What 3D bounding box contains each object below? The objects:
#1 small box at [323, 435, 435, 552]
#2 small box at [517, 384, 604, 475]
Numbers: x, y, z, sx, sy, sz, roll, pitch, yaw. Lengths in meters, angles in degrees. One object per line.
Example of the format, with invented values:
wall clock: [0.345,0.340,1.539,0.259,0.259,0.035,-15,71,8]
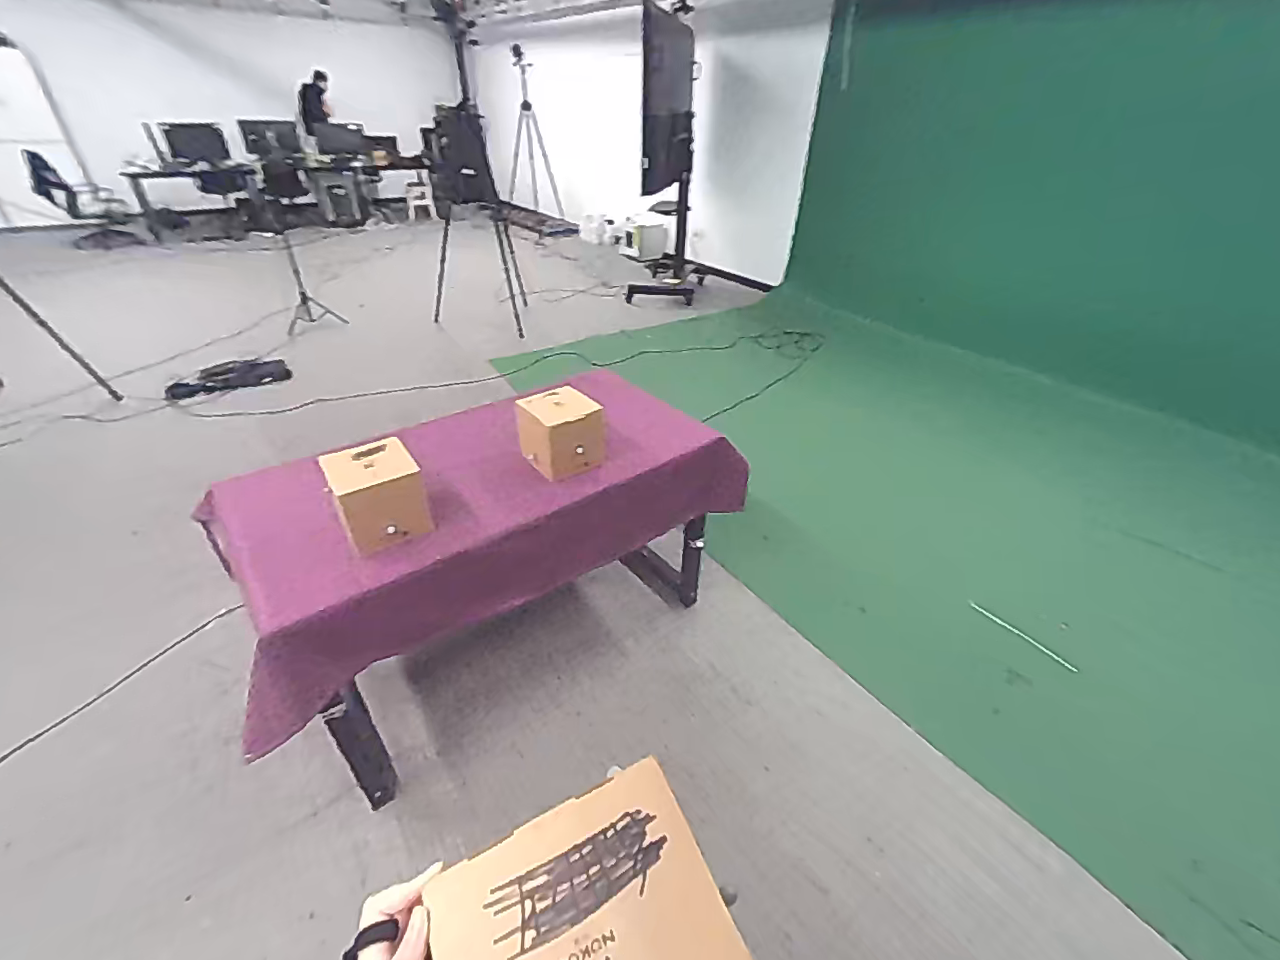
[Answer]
small box: [-0.573,0.028,1.193,0.168,0.176,0.179,-22,42,-30]
small box: [-0.206,-0.129,1.434,0.168,0.176,0.179,-23,43,-31]
